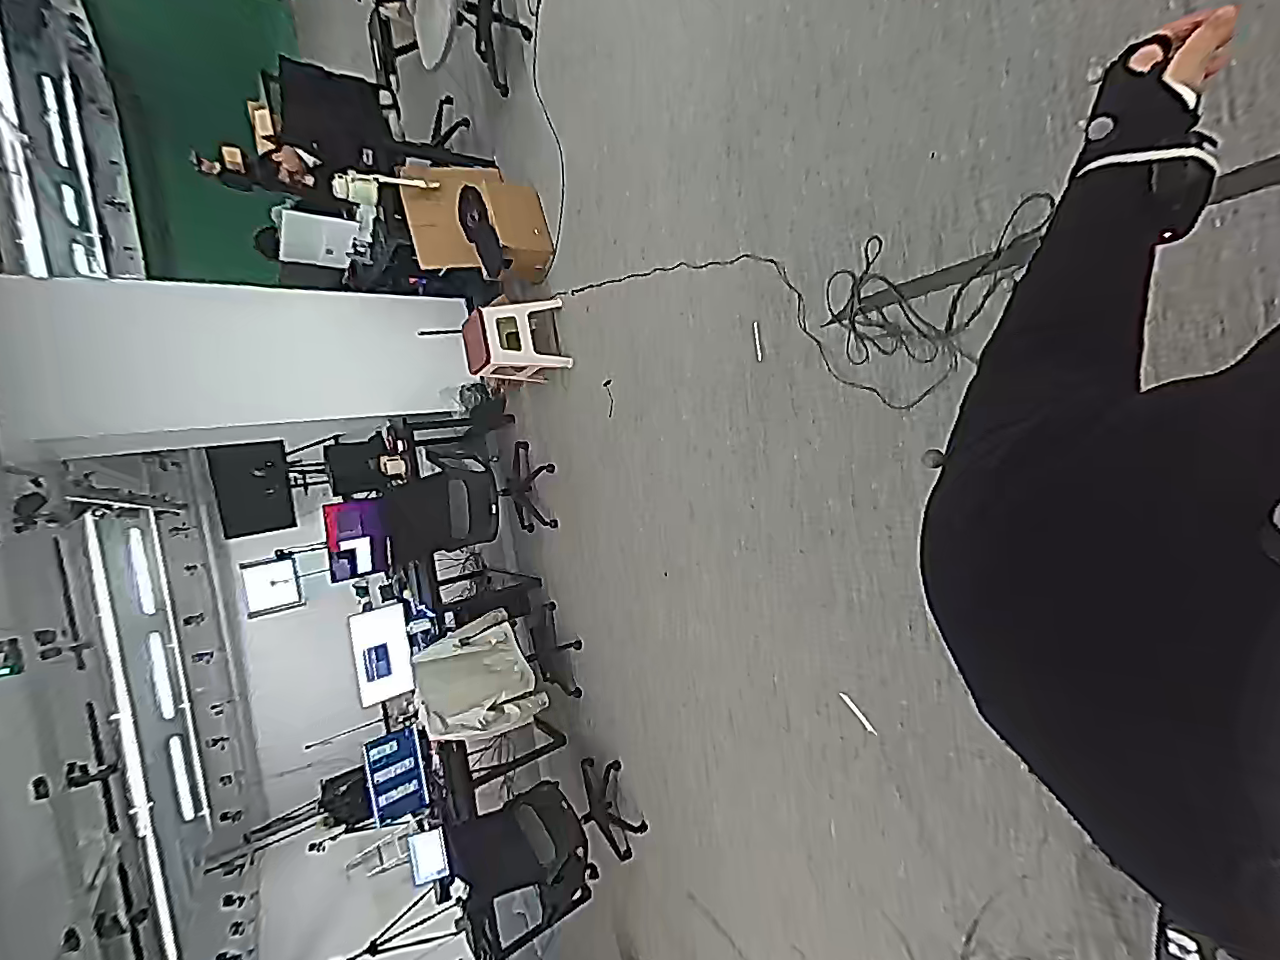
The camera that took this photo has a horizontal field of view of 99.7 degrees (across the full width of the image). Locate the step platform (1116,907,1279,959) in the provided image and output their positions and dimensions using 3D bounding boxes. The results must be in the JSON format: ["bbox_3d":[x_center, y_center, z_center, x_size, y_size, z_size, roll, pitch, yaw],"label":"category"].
[{"bbox_3d":[1.145,0.964,0.781,0.684,0.204,0.286,-8,93,56],"label":"step platform"}]
